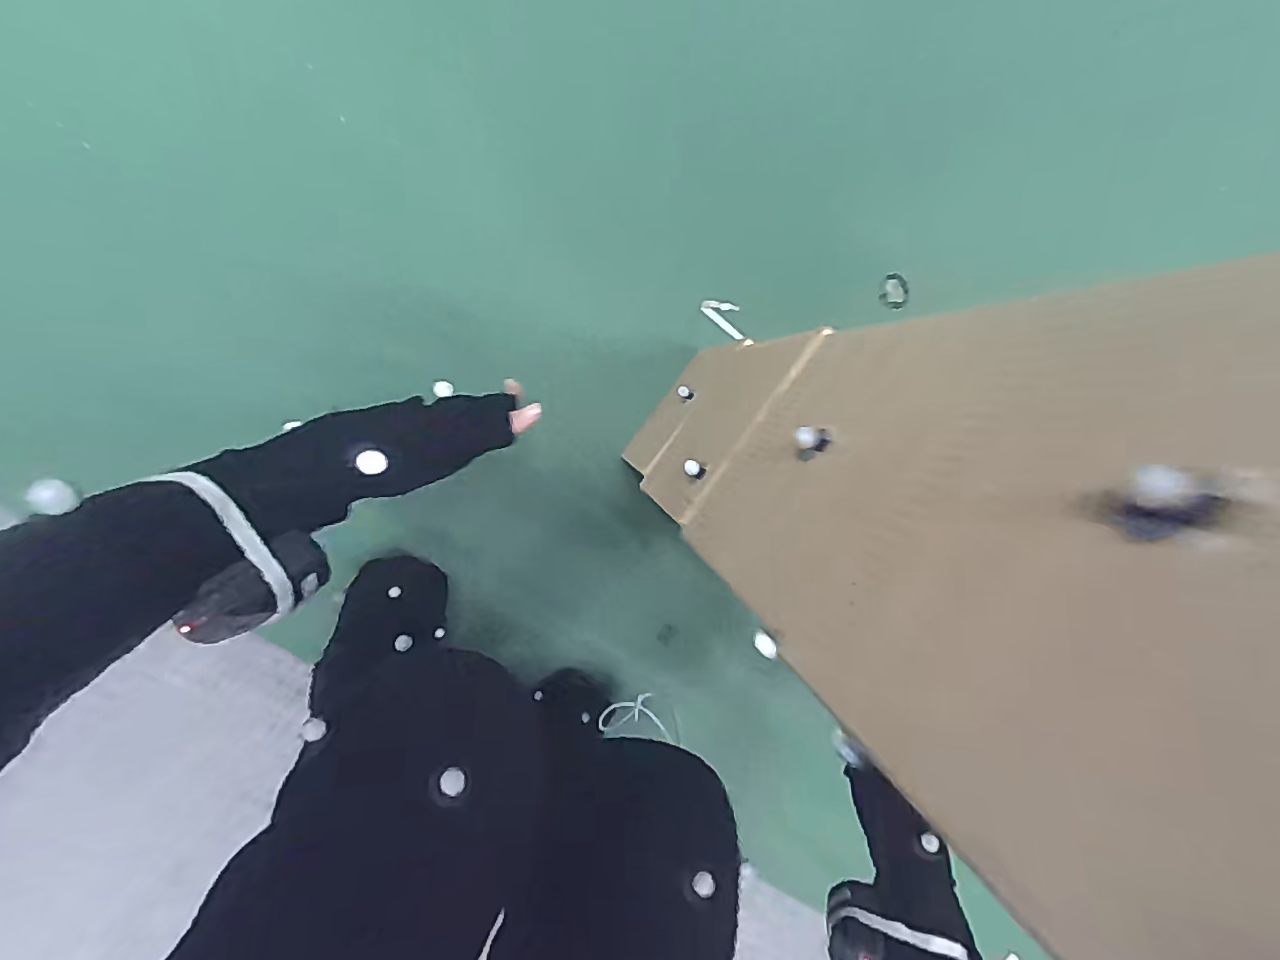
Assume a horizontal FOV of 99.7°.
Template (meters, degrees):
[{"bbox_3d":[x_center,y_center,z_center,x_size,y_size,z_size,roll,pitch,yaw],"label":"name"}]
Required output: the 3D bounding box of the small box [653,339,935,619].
[{"bbox_3d":[0.130,-0.002,0.483,0.168,0.176,0.179,34,93,-14],"label":"small box"}]

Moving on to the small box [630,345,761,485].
[{"bbox_3d":[0.105,-0.036,0.641,0.168,0.176,0.179,37,92,-13],"label":"small box"}]
